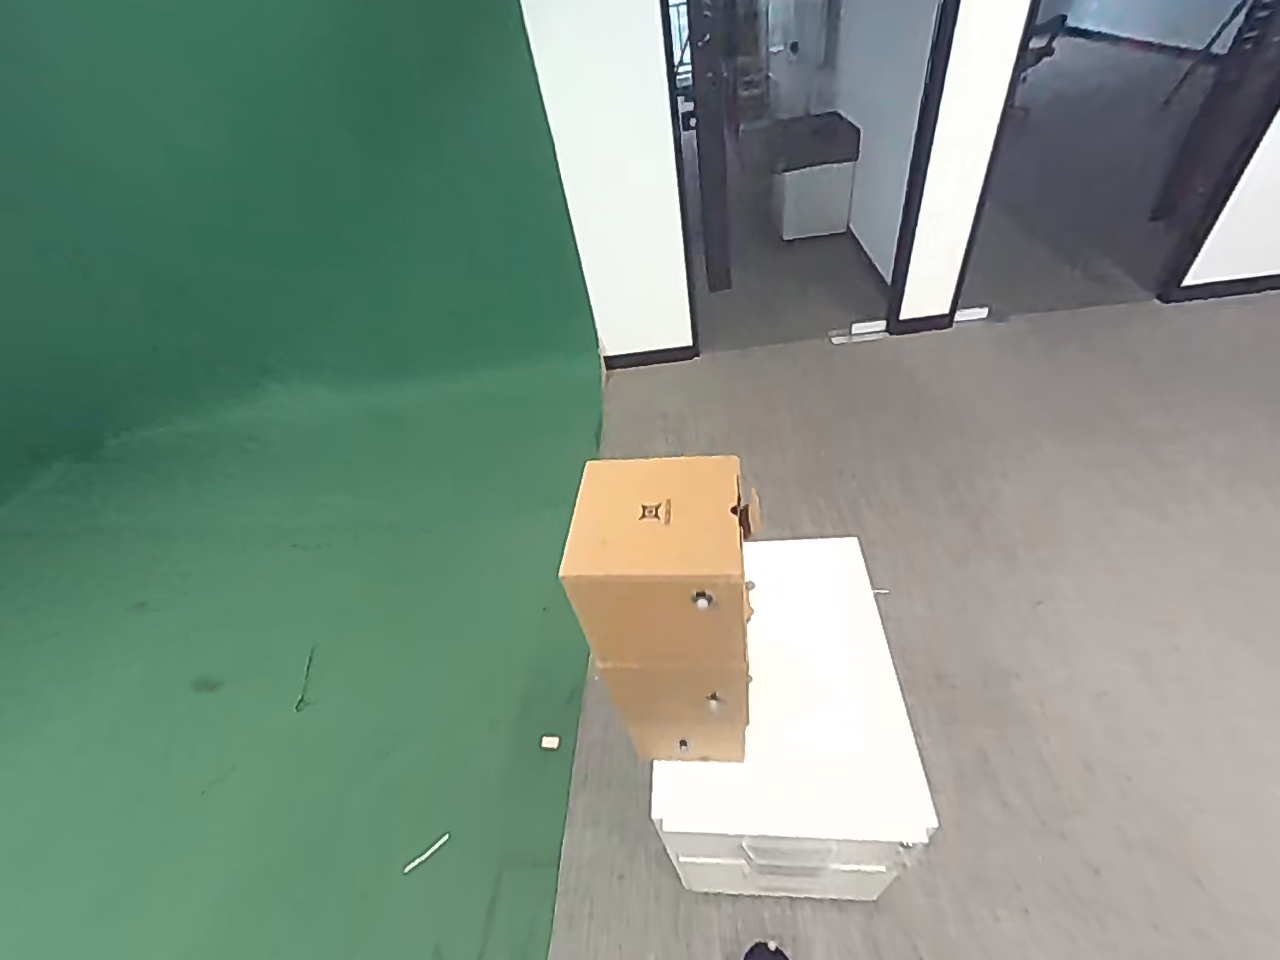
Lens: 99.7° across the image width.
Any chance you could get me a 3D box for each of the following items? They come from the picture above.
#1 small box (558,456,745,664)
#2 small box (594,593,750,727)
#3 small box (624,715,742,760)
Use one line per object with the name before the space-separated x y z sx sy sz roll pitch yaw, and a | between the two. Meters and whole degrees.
small box | 0.026 0.091 0.606 0.179 0.176 0.168 -1 44 9
small box | 0.049 0.211 0.714 0.179 0.176 0.168 -4 43 8
small box | 0.072 0.315 0.837 0.168 0.176 0.179 -1 45 8
